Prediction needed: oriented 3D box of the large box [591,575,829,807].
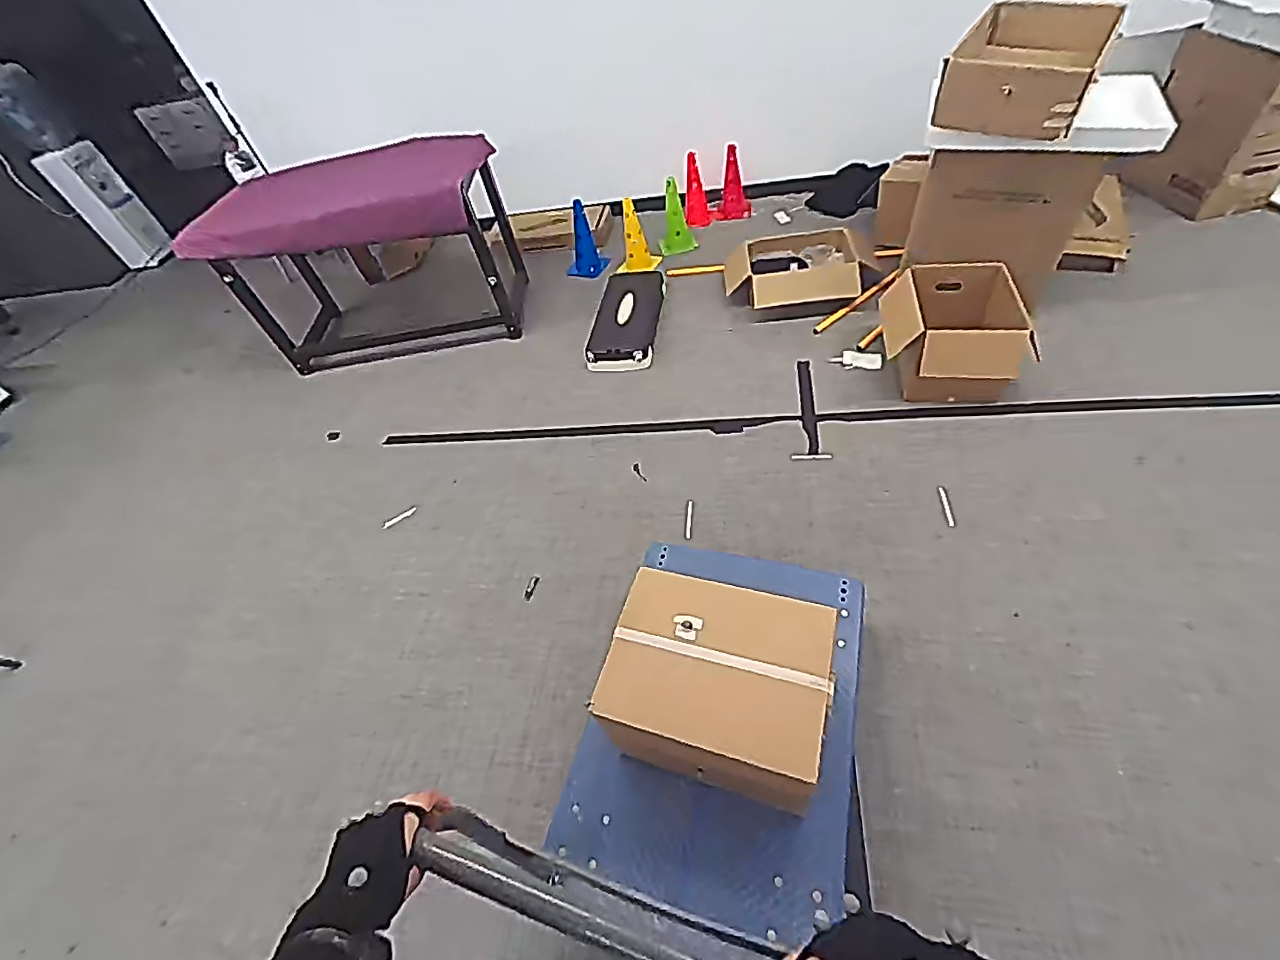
[{"bbox_3d":[0.167,0.438,1.136,0.408,0.320,0.320,8,52,20],"label":"large box"}]
